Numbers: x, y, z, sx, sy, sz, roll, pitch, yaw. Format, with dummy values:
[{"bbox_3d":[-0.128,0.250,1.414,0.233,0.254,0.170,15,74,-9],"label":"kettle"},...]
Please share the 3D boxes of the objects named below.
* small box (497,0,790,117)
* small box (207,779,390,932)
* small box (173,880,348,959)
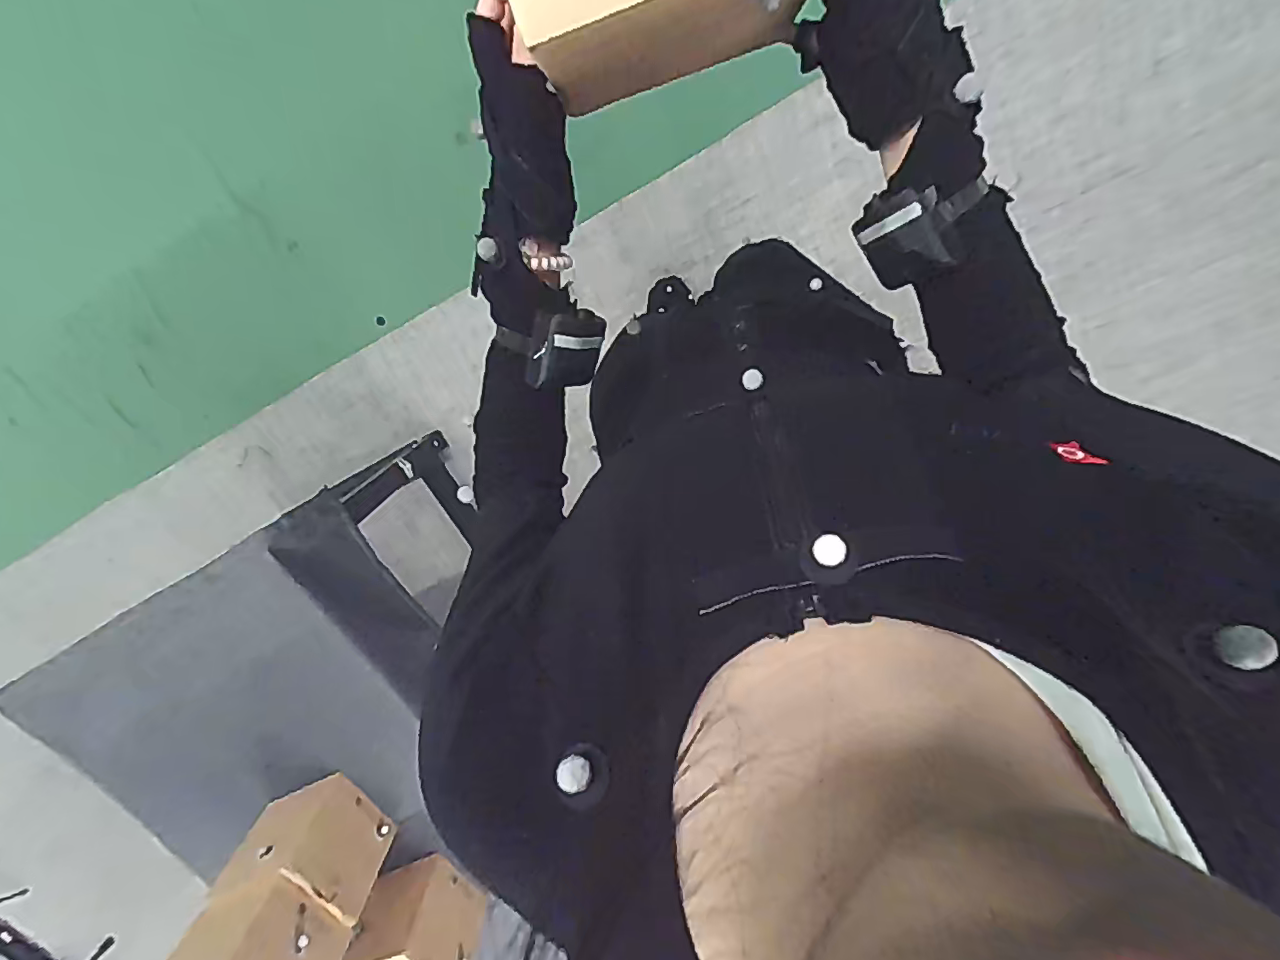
[{"bbox_3d":[-0.004,-0.344,0.314,0.179,0.176,0.168,-16,111,7],"label":"small box"},{"bbox_3d":[-0.561,0.654,0.924,0.179,0.176,0.168,-27,108,11],"label":"small box"},{"bbox_3d":[-0.571,0.728,0.778,0.179,0.176,0.168,-29,108,11],"label":"small box"}]
